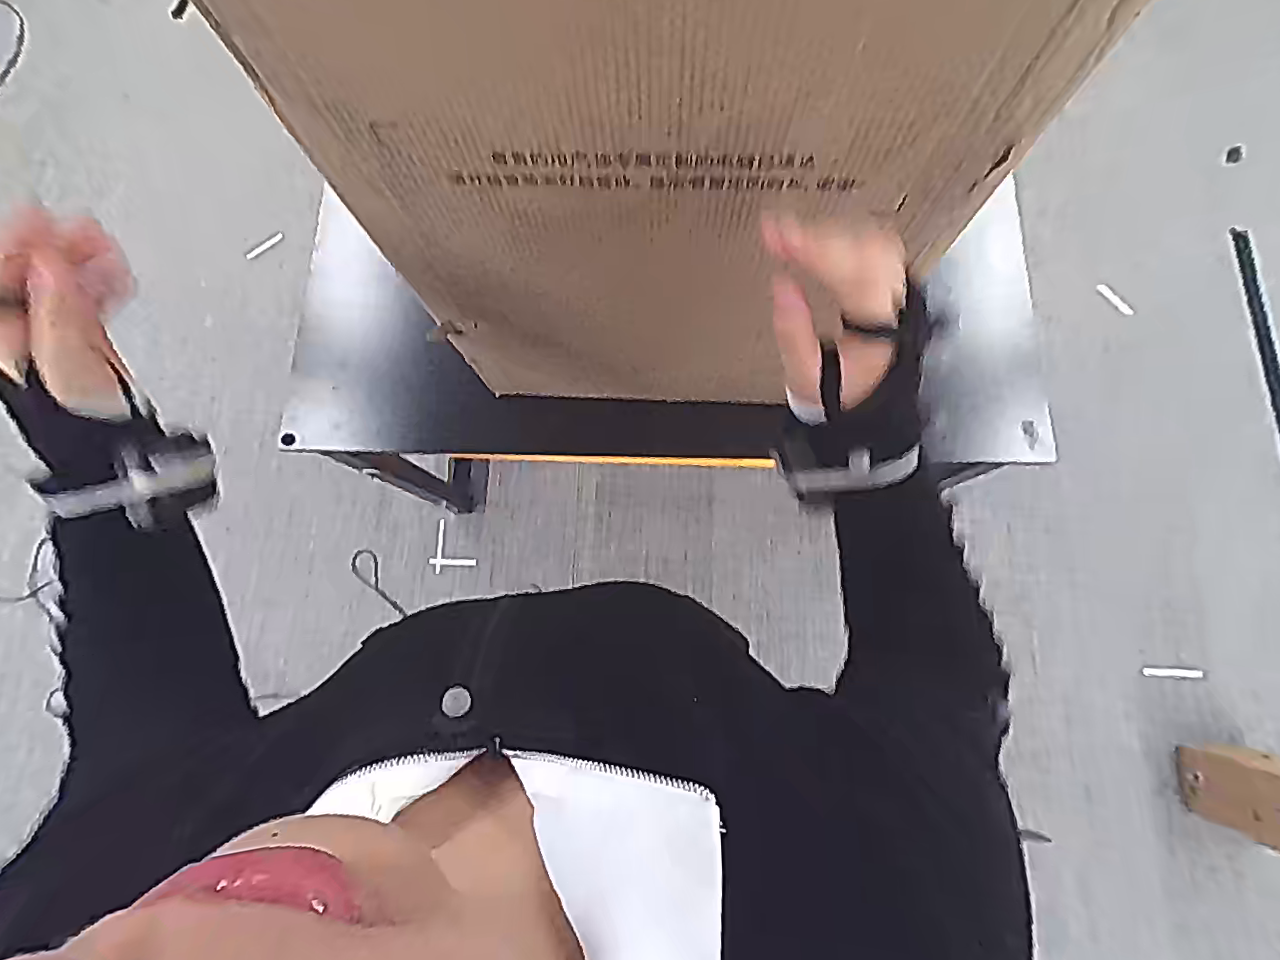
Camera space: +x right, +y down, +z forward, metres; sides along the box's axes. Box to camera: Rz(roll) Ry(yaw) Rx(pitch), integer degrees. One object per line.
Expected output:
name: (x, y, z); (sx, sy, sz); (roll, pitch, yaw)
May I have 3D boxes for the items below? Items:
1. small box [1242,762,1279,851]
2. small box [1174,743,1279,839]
small box: (1.425, 0.700, 1.124); (0.179, 0.176, 0.168); (2, 76, 3)
small box: (1.447, 0.735, 1.284); (0.179, 0.176, 0.168); (0, 76, 3)
